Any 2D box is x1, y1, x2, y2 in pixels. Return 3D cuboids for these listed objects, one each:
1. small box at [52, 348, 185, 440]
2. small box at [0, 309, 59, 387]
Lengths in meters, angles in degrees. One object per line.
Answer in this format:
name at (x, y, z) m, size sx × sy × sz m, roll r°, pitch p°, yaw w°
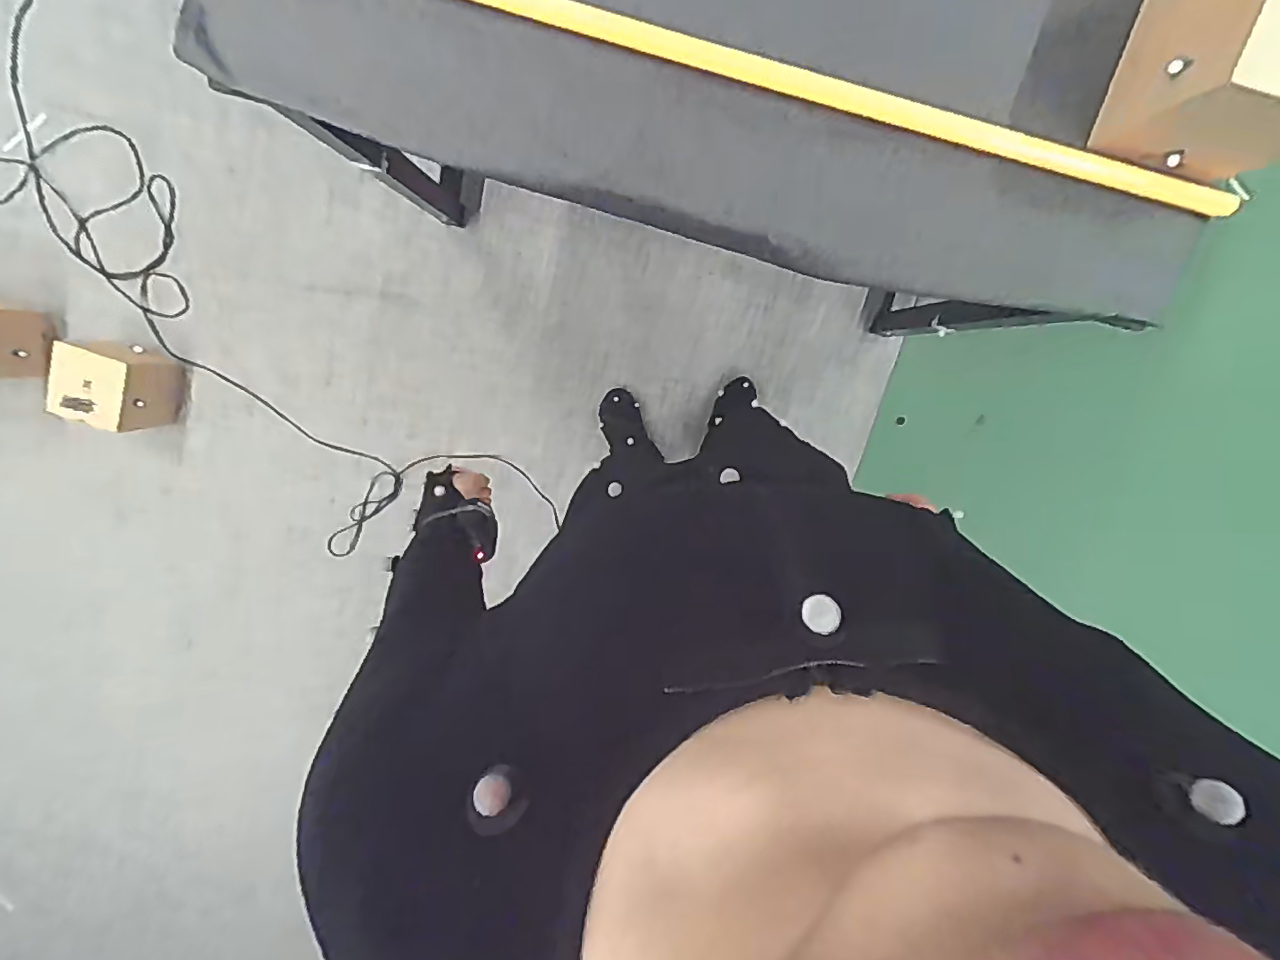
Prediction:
small box at (-1.291, -0.219, 1.350) m, size 0.168 × 0.176 × 0.179 m, roll 19°, pitch 101°, yaw -5°
small box at (-1.588, -0.329, 1.323) m, size 0.179 × 0.176 × 0.168 m, roll 10°, pitch 103°, yaw -2°
